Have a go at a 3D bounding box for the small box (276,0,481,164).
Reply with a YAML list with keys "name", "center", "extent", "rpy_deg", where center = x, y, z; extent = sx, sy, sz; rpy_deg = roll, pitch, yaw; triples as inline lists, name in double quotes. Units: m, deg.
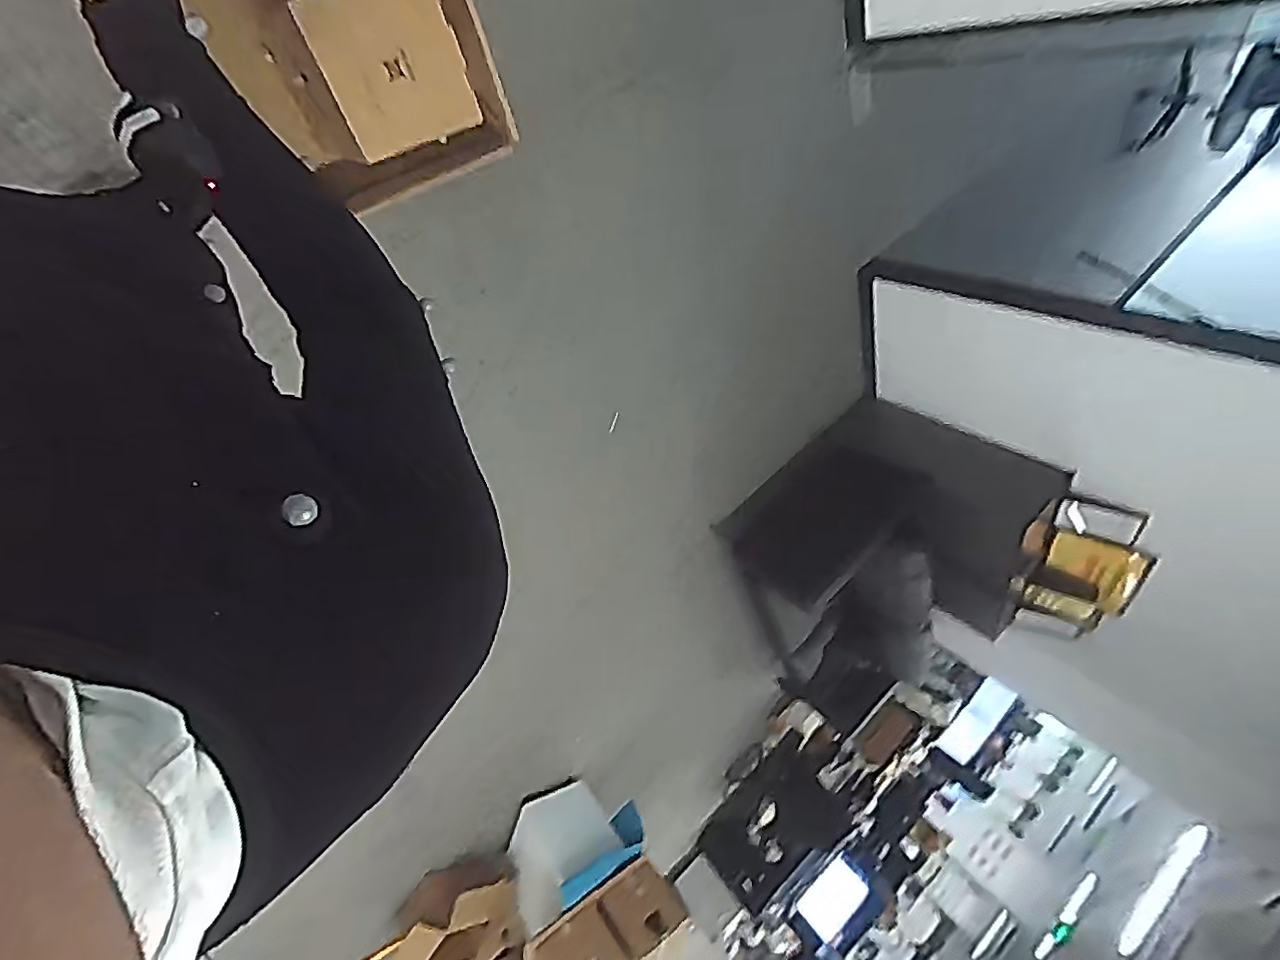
- name: "small box"
  center: [-0.352, -0.550, 0.732]
  extent: [0.179, 0.176, 0.168]
  rpy_deg: [-34, 134, -19]
